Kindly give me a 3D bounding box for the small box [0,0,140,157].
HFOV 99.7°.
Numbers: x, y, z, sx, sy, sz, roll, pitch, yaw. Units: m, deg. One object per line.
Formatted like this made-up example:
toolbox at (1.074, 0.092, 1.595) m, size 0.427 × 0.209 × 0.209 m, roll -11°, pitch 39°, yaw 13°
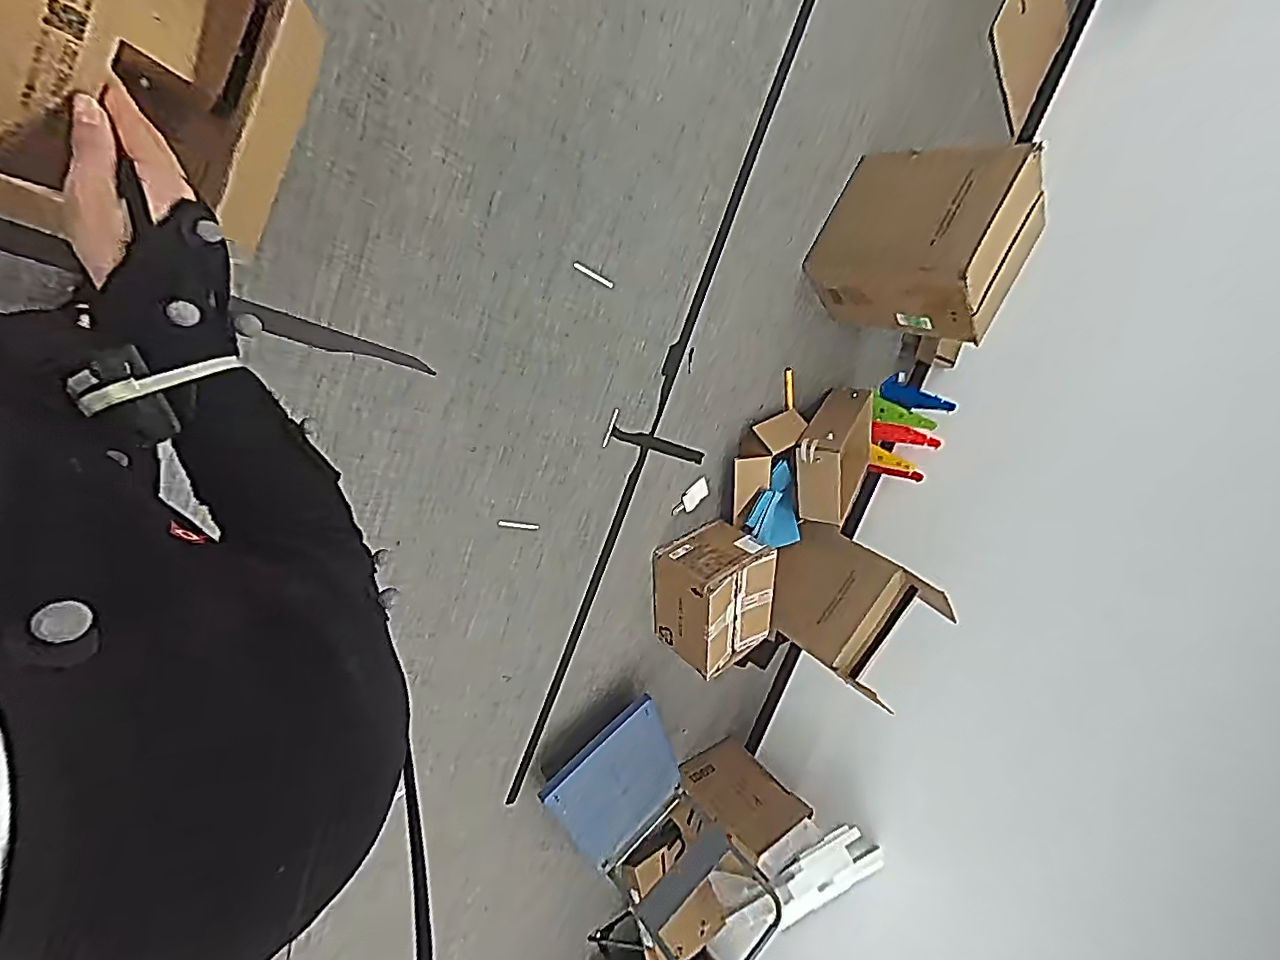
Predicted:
small box at (-0.382, -0.297, 0.258) m, size 0.168 × 0.179 × 0.176 m, roll -39°, pitch 165°, yaw 23°
